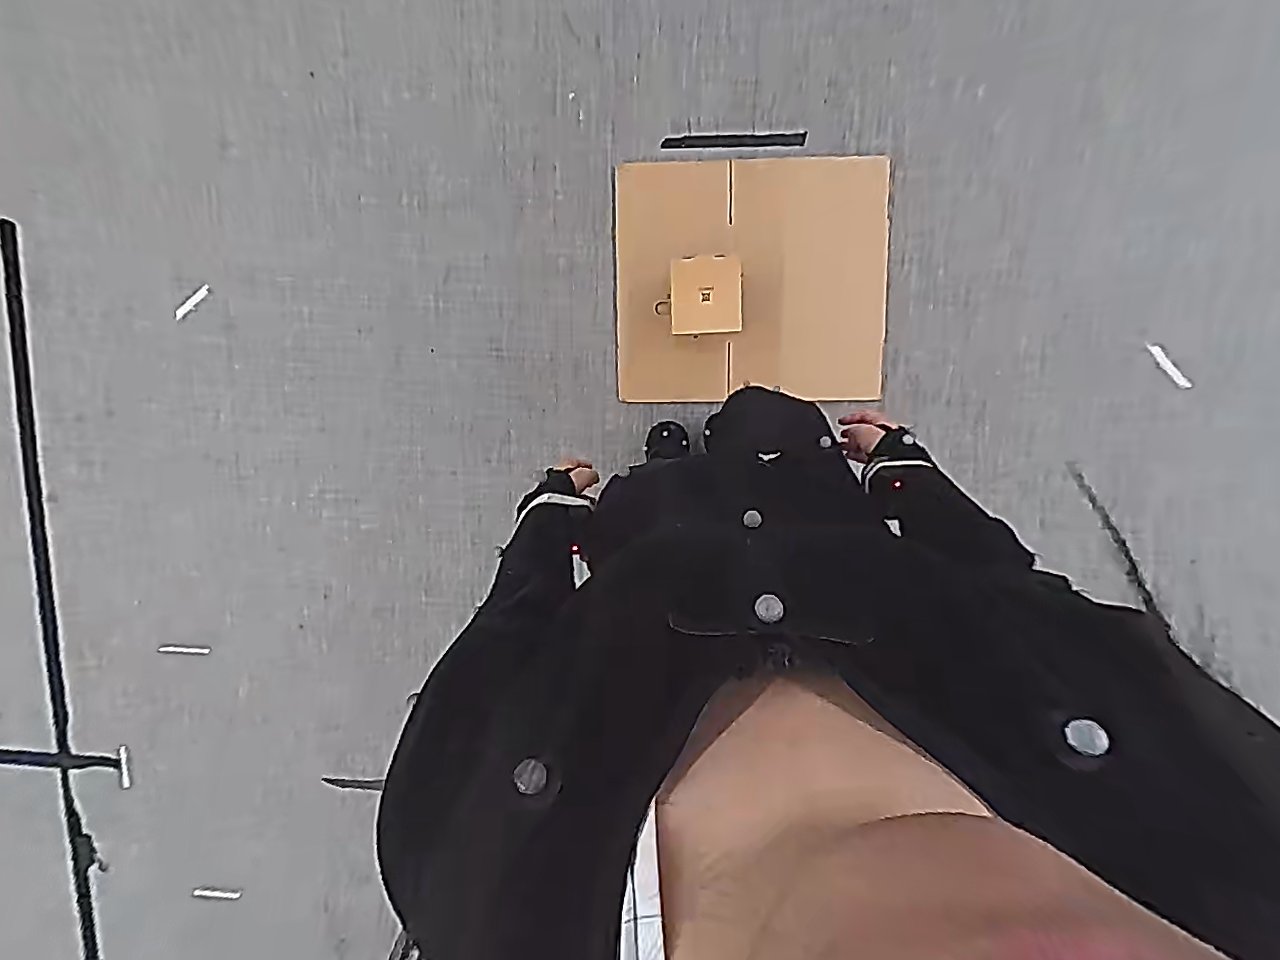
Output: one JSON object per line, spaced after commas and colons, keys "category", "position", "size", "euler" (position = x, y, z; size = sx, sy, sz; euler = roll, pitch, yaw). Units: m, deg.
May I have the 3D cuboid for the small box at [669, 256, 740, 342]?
{"category": "small box", "position": [0.156, -0.439, 1.338], "size": [0.168, 0.176, 0.179], "euler": [-2, 97, 3]}
